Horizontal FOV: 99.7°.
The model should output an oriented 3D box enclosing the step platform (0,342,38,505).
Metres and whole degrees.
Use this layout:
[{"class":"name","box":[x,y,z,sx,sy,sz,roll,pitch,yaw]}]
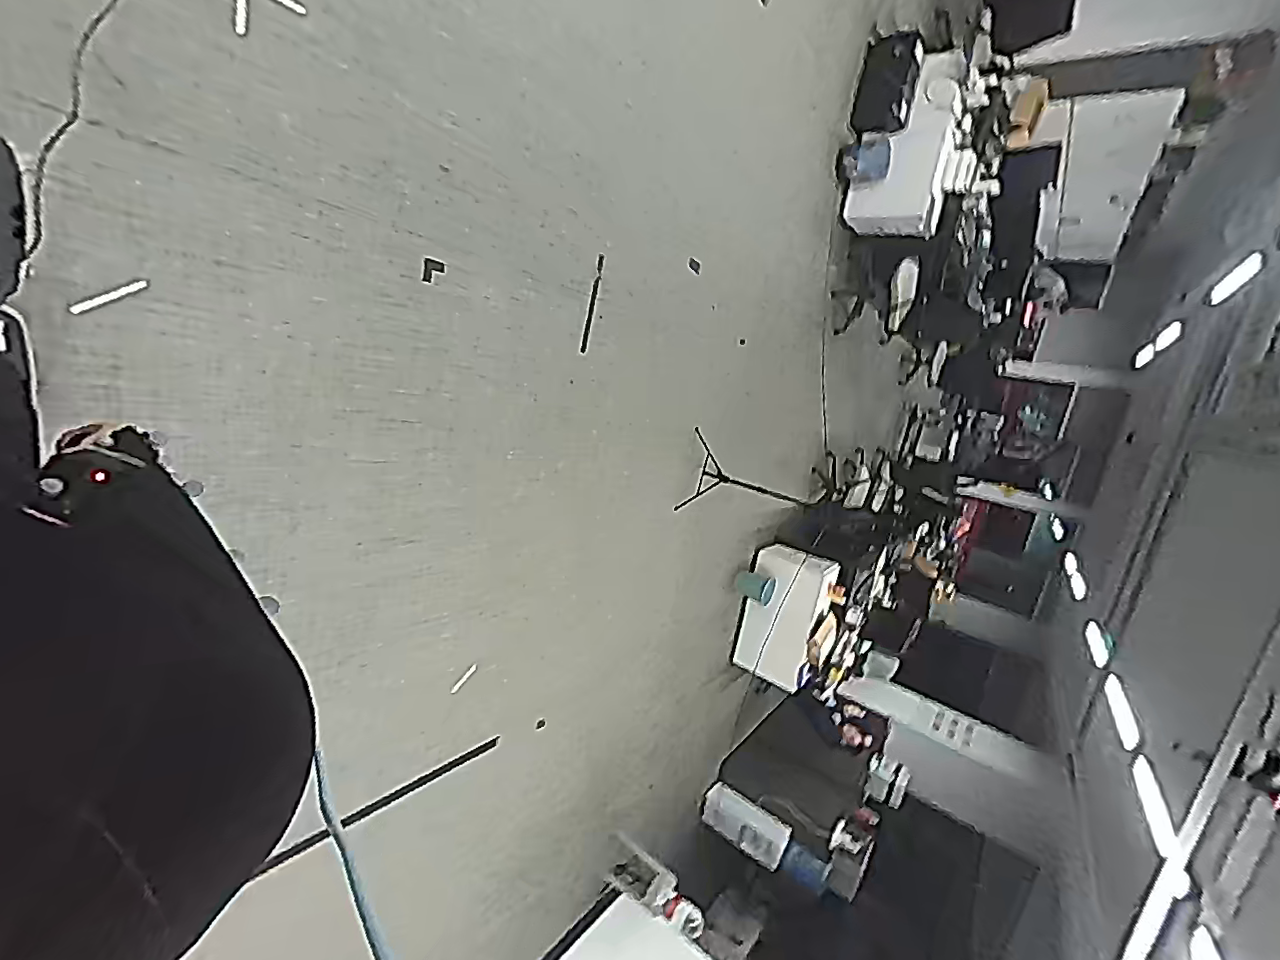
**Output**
[{"class":"step platform","box":[-1.330,-0.117,0.737,0.684,0.204,0.286,5,99,-54]}]
